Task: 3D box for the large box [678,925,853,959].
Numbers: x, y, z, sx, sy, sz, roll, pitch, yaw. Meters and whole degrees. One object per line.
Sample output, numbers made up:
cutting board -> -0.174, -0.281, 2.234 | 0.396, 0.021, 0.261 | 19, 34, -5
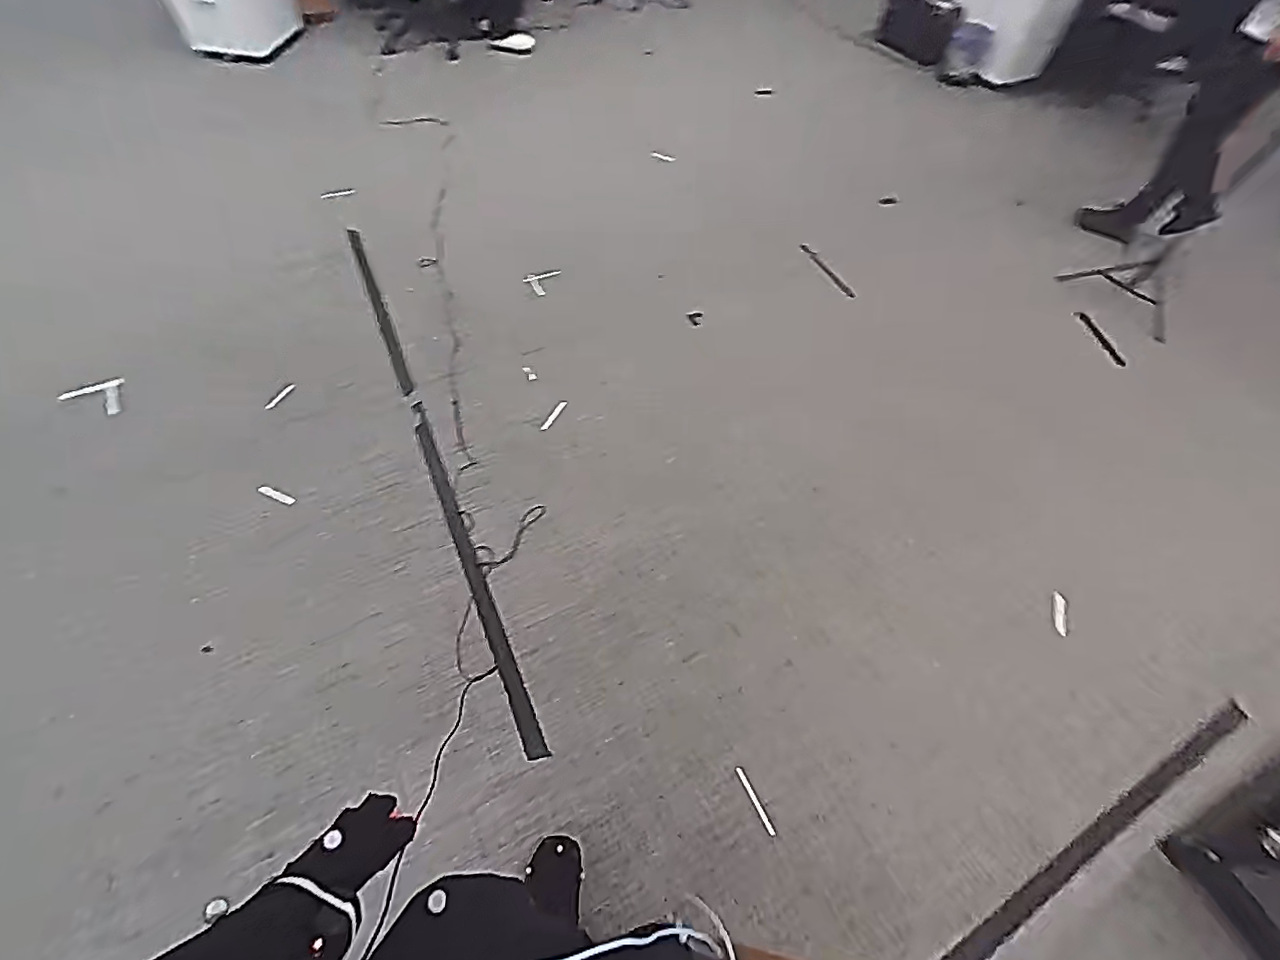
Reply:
large box -> 0.242, 0.786, 0.660 | 0.320, 0.408, 0.320 | 18, 53, -6
